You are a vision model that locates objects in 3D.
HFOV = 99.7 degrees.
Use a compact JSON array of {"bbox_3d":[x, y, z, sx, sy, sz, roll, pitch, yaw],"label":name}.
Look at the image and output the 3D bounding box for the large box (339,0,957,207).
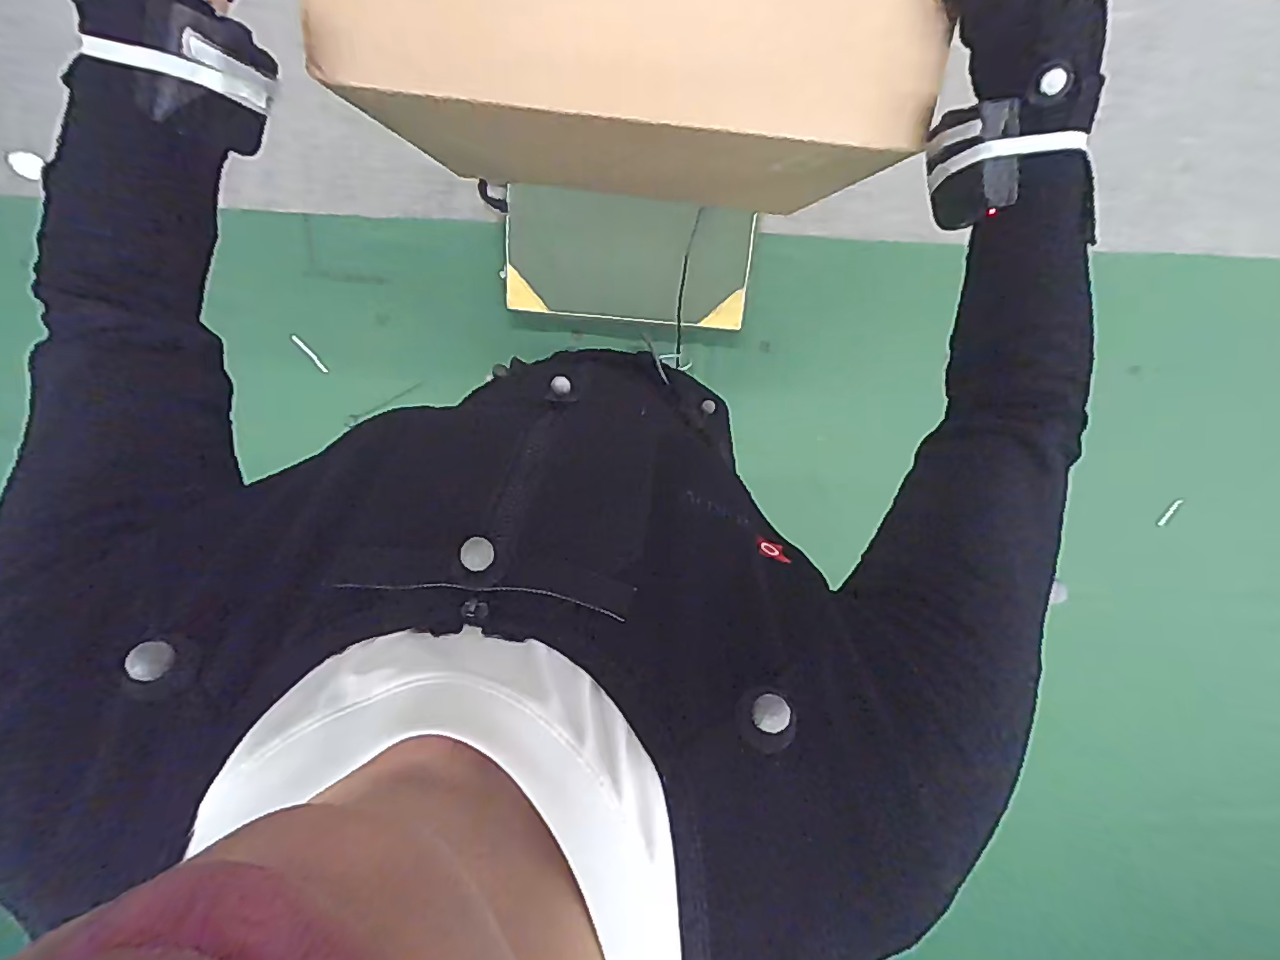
[{"bbox_3d":[0.009,-0.440,0.458,0.408,0.320,0.320,4,110,-4],"label":"large box"}]
